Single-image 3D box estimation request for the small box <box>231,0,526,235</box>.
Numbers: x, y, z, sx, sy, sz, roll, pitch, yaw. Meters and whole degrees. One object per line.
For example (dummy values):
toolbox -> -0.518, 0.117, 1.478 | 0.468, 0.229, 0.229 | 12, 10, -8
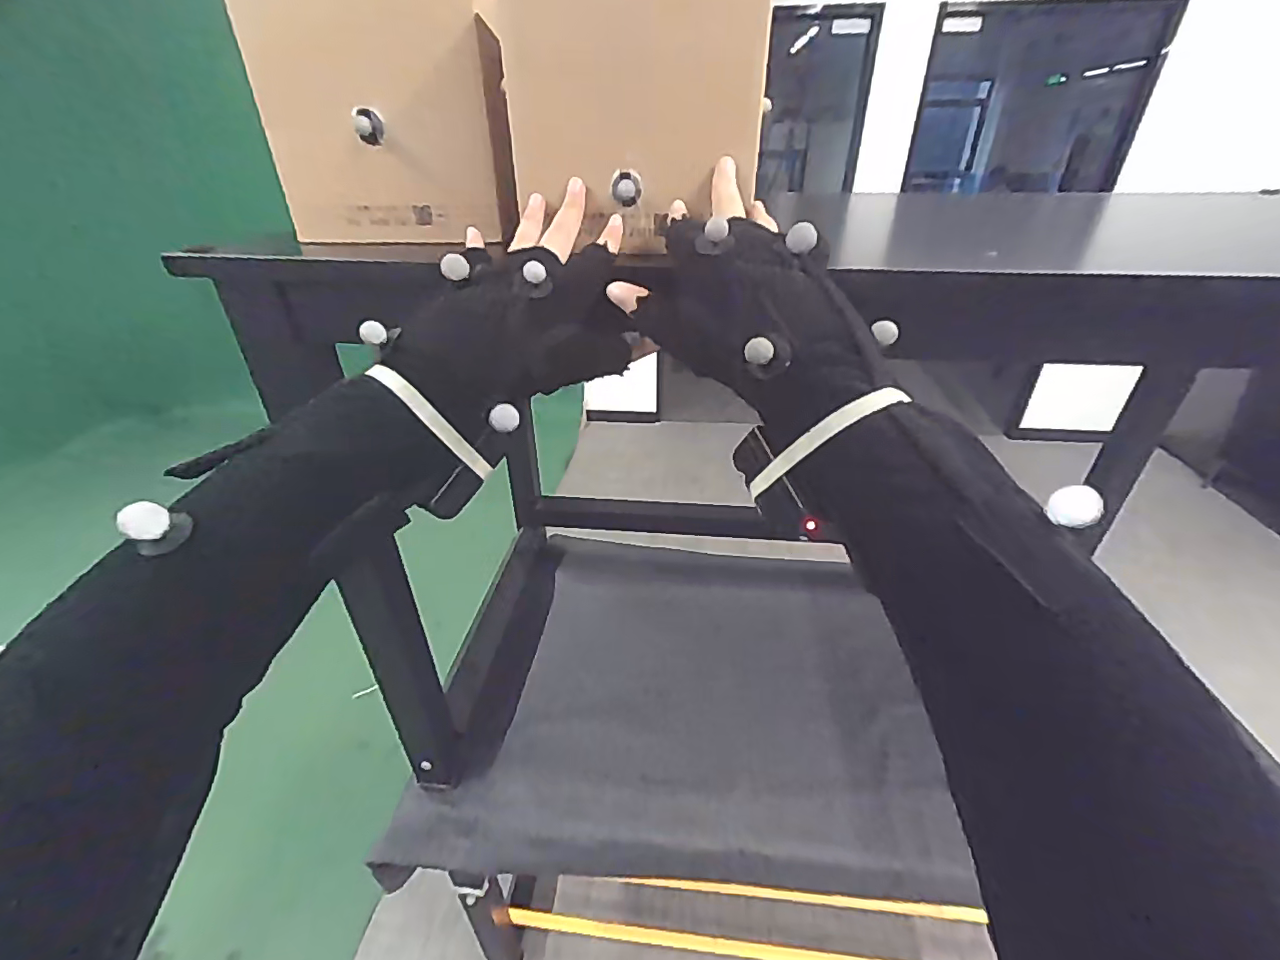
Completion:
small box -> -0.200, -0.317, 0.478 | 0.168, 0.176, 0.179 | 1, 31, -1
